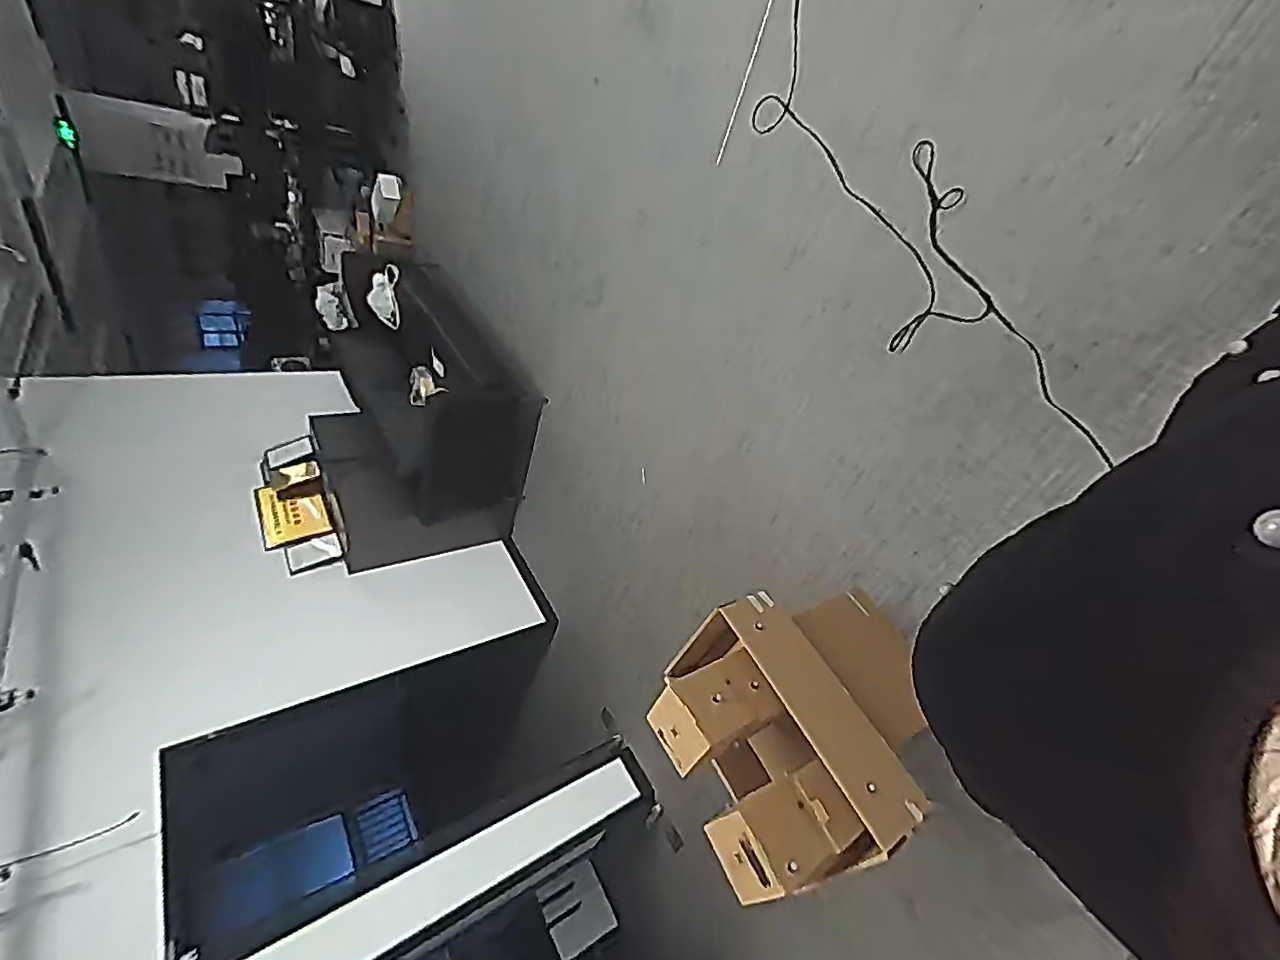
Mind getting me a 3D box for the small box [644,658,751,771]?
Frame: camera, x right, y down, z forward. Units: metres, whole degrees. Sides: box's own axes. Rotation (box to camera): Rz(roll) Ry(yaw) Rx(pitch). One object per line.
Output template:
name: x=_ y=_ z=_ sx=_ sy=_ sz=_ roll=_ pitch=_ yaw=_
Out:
small box: x=0.145 y=0.571 z=1.332 sx=0.168 sy=0.176 sz=0.179 roll=52 pitch=135 yaw=31
